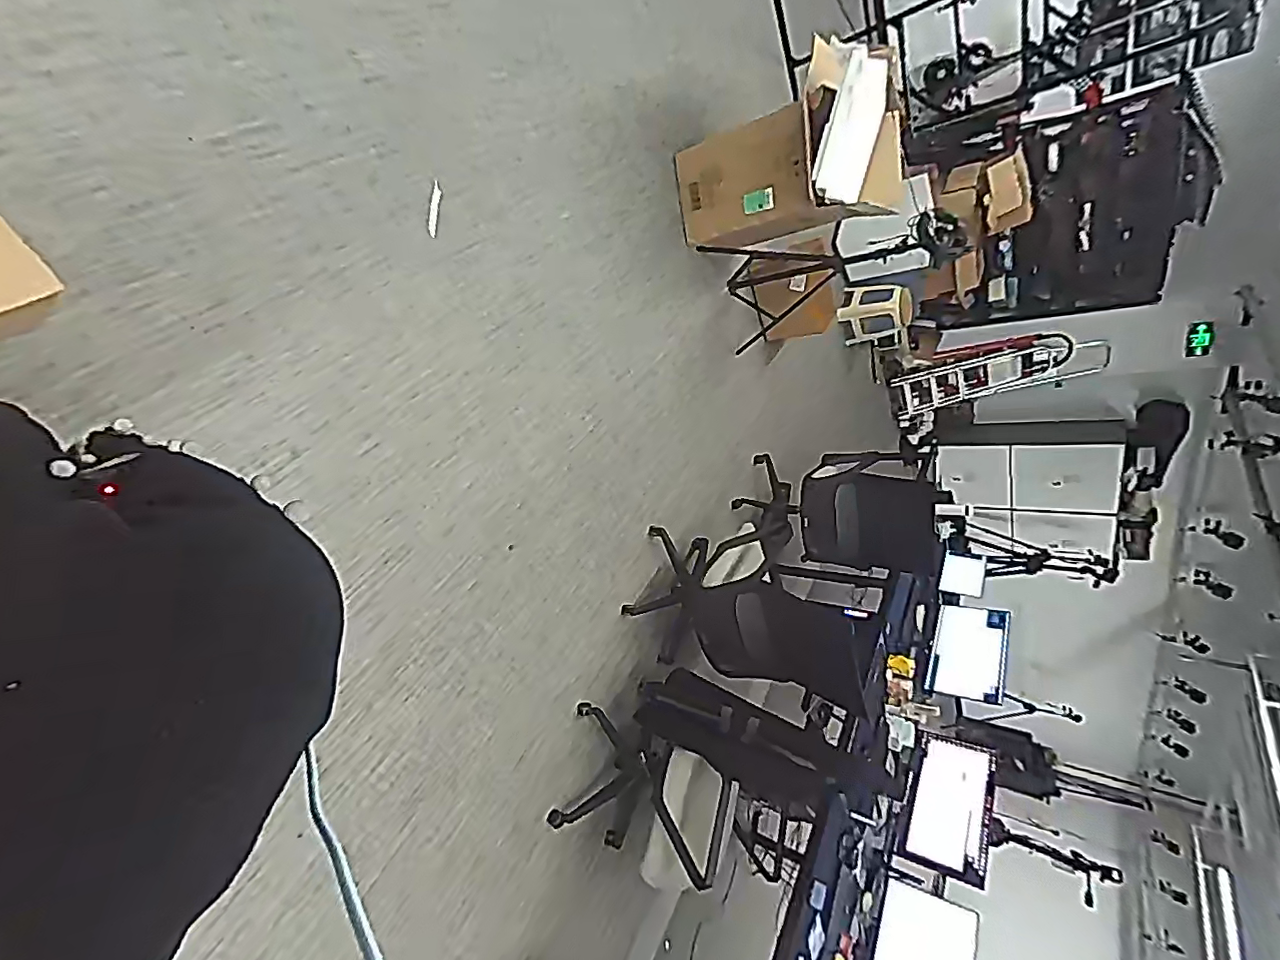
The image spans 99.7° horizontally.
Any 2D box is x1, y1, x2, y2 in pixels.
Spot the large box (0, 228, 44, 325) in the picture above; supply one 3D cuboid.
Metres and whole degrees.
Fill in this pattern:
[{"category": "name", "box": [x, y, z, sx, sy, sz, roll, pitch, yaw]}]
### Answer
[{"category": "large box", "box": [-1.096, -0.275, 0.646, 0.408, 0.320, 0.320, -53, 131, -39]}]
